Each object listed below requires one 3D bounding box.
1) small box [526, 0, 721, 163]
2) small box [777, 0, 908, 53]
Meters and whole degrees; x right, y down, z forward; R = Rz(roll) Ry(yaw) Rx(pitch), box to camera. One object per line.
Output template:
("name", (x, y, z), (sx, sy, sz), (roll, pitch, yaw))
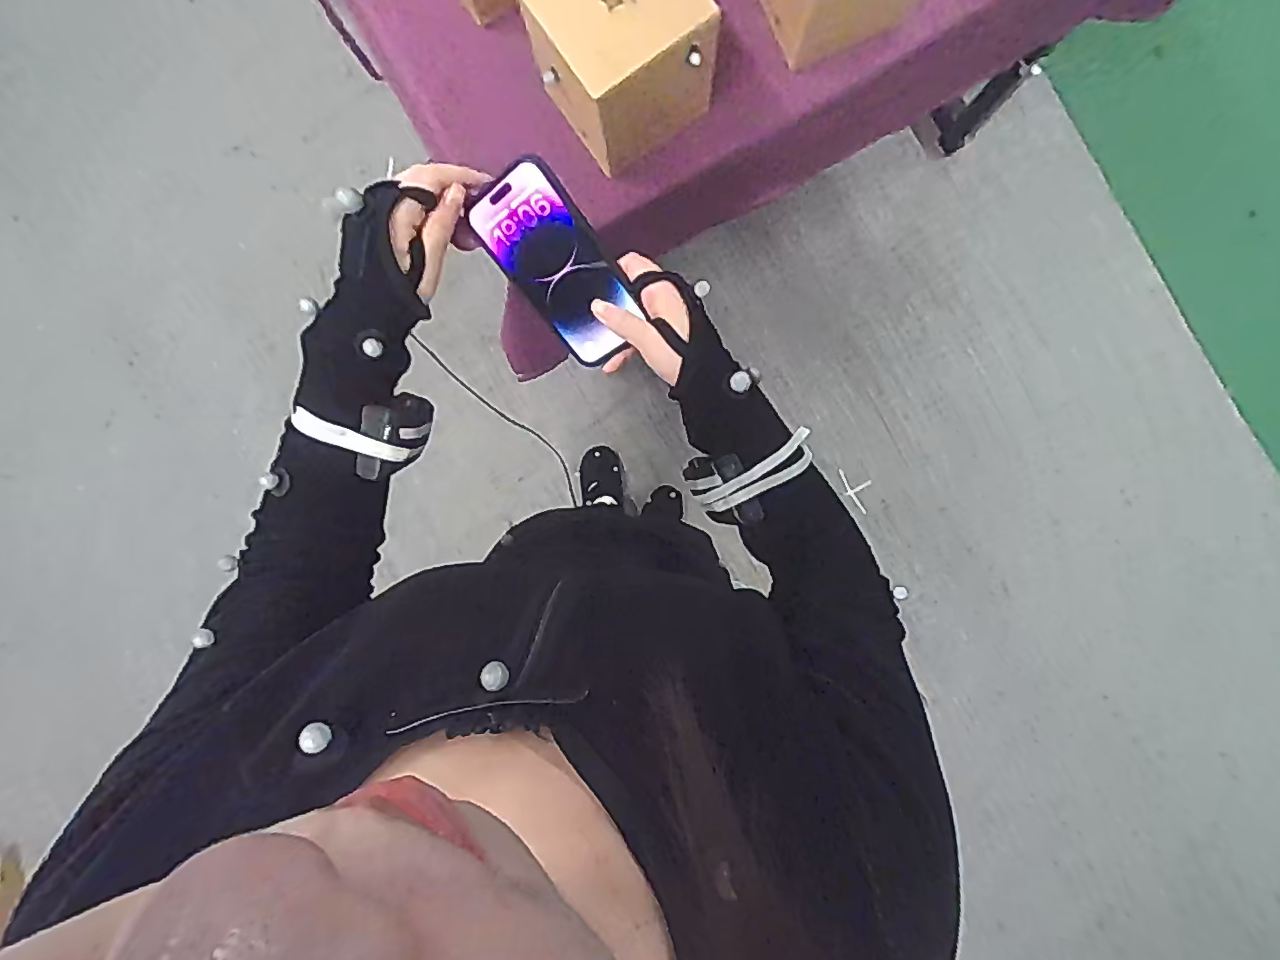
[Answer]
("small box", (-0.019, -0.553, 0.685), (0.179, 0.176, 0.168), (-35, 90, 1))
("small box", (0.262, -0.691, 0.672), (0.179, 0.176, 0.168), (-23, 91, 1))
